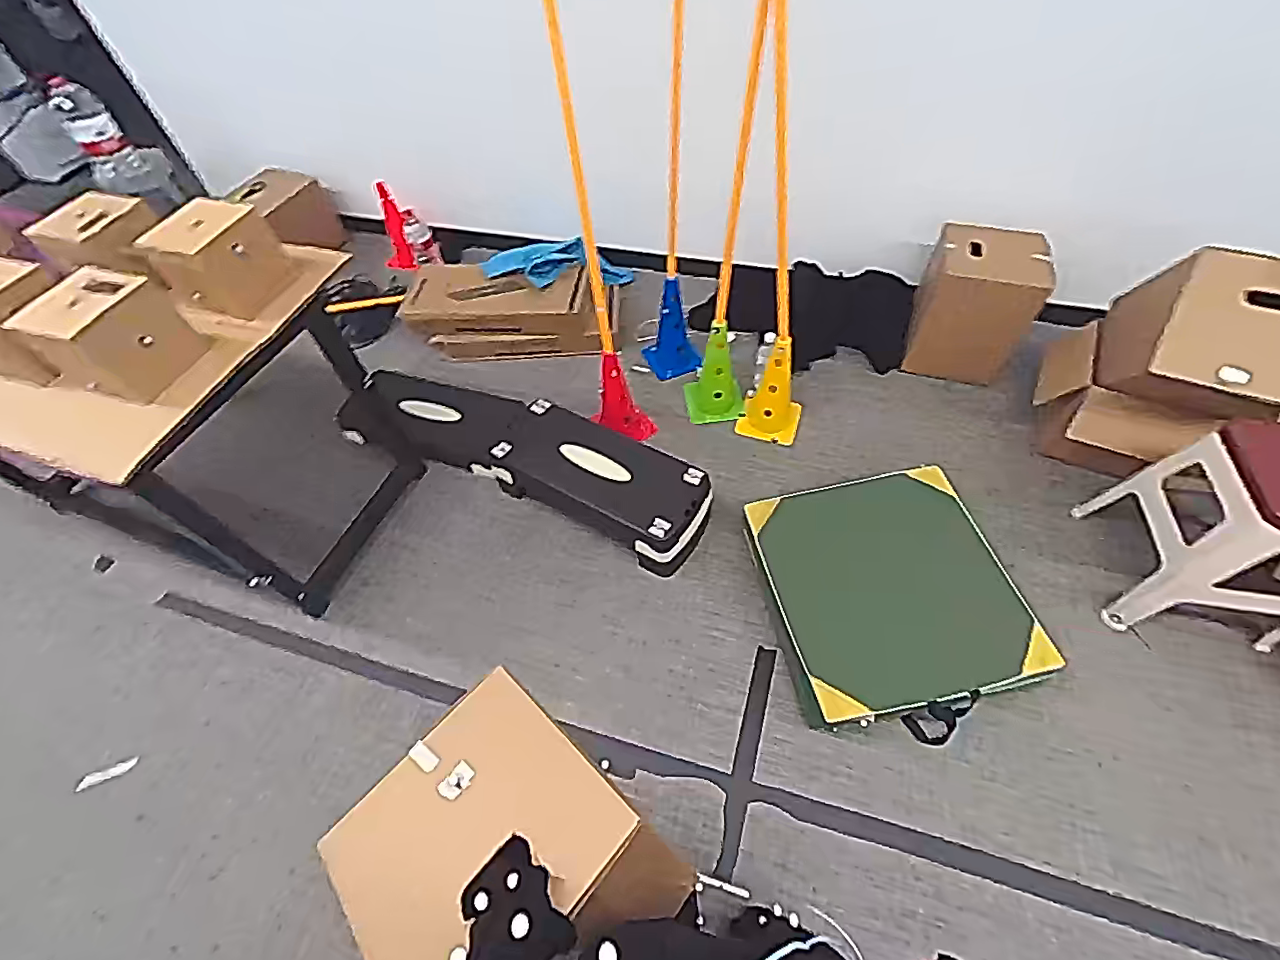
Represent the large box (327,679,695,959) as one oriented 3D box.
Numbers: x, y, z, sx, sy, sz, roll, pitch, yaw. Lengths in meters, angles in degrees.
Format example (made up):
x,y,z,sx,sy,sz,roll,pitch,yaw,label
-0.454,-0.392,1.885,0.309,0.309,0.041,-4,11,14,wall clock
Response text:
x,y,z,sx,sy,sz,roll,pitch,yaw,label
-0.164,0.575,0.812,0.320,0.408,0.320,-43,49,-21,large box
